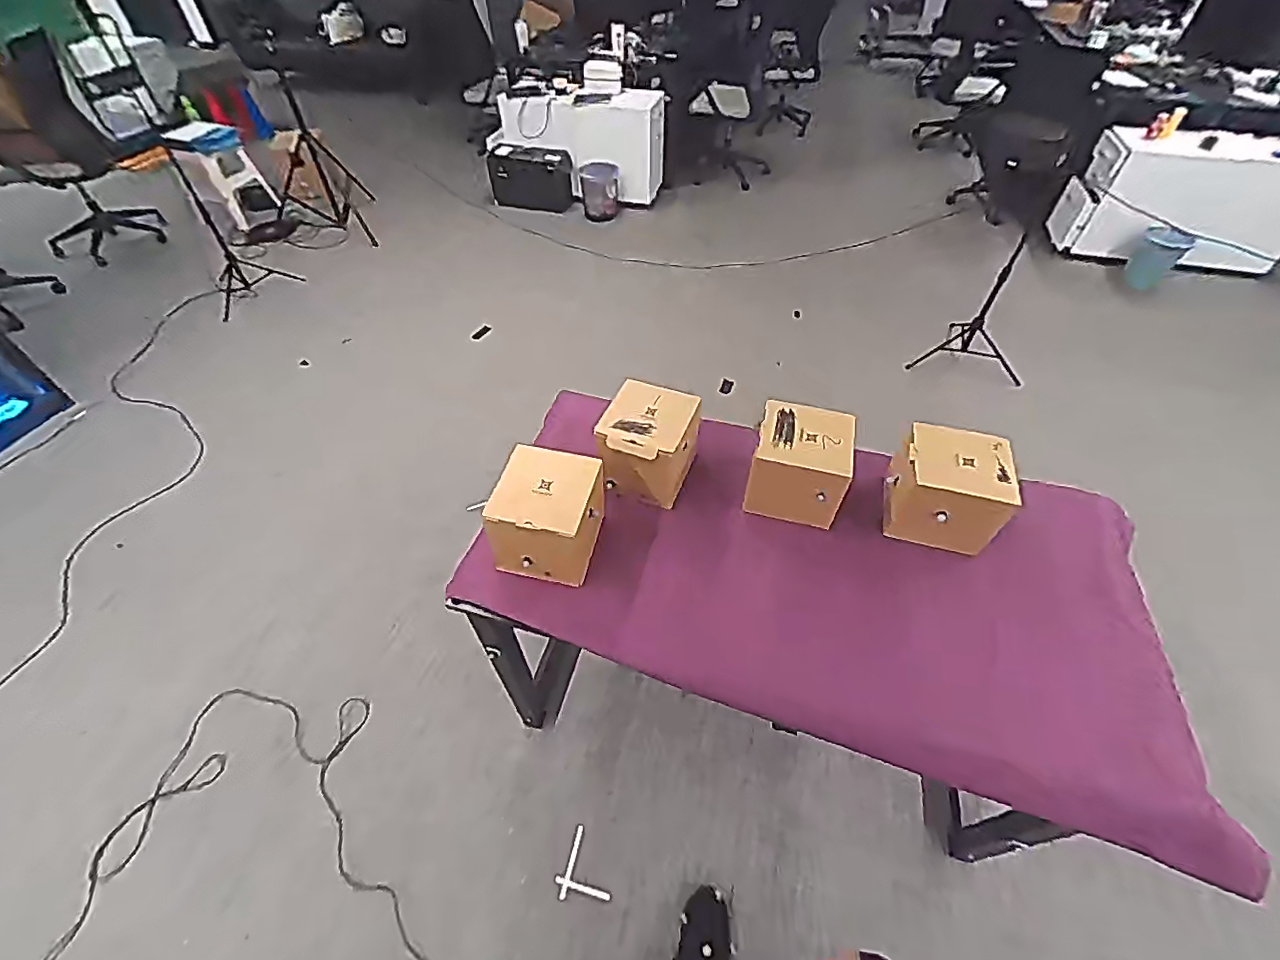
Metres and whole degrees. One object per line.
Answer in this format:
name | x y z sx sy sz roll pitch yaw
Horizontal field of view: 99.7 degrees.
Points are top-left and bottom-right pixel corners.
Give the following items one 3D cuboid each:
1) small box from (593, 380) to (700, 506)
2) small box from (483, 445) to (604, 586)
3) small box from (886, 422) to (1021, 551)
small box | 0.017 -0.073 1.115 0.168 0.176 0.179 17 51 14
small box | -0.167 0.066 0.992 0.168 0.176 0.179 10 50 6
small box | 0.584 0.015 1.034 0.179 0.176 0.168 12 53 11
